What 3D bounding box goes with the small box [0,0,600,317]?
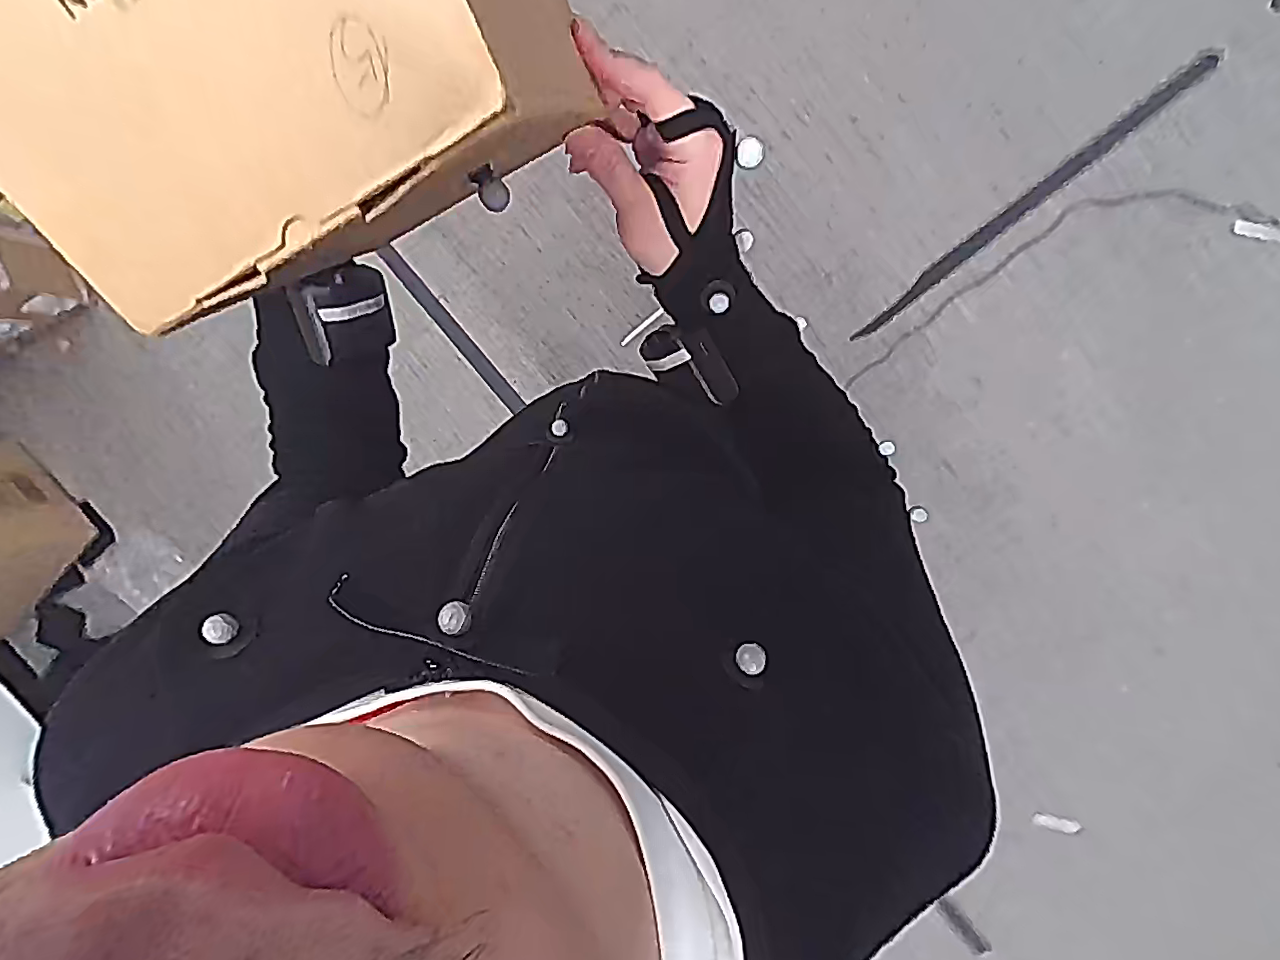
[{"bbox_3d":[-0.130,-0.195,0.211,0.168,0.176,0.179,-17,119,17],"label":"small box"}]
